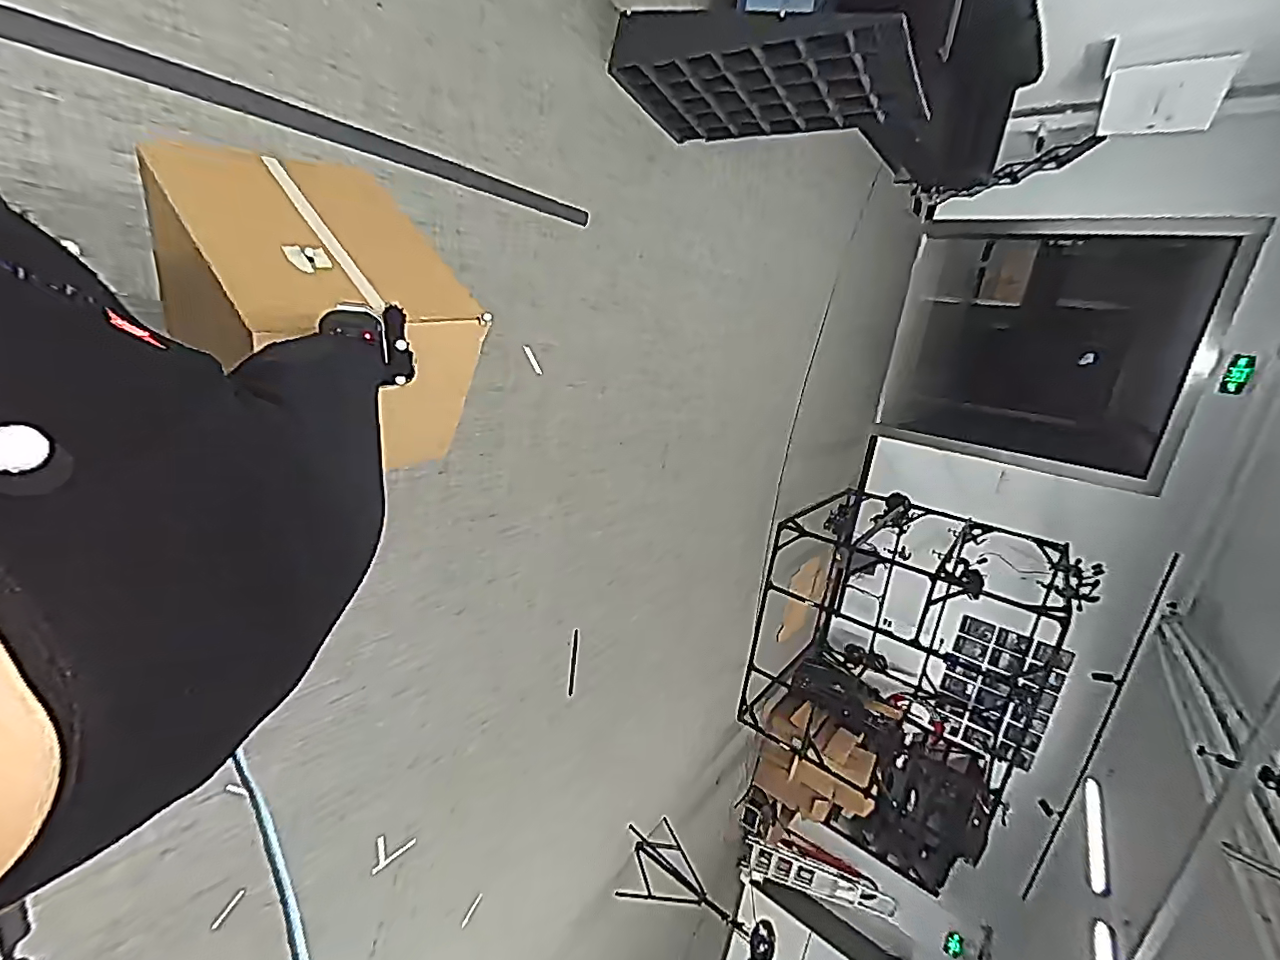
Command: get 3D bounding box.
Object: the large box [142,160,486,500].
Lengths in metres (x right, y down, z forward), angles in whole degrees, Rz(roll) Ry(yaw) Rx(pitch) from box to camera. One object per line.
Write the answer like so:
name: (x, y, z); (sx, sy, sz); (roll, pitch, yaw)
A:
large box: (-0.527, -0.242, 0.886); (0.320, 0.408, 0.320); (-23, 156, -45)
